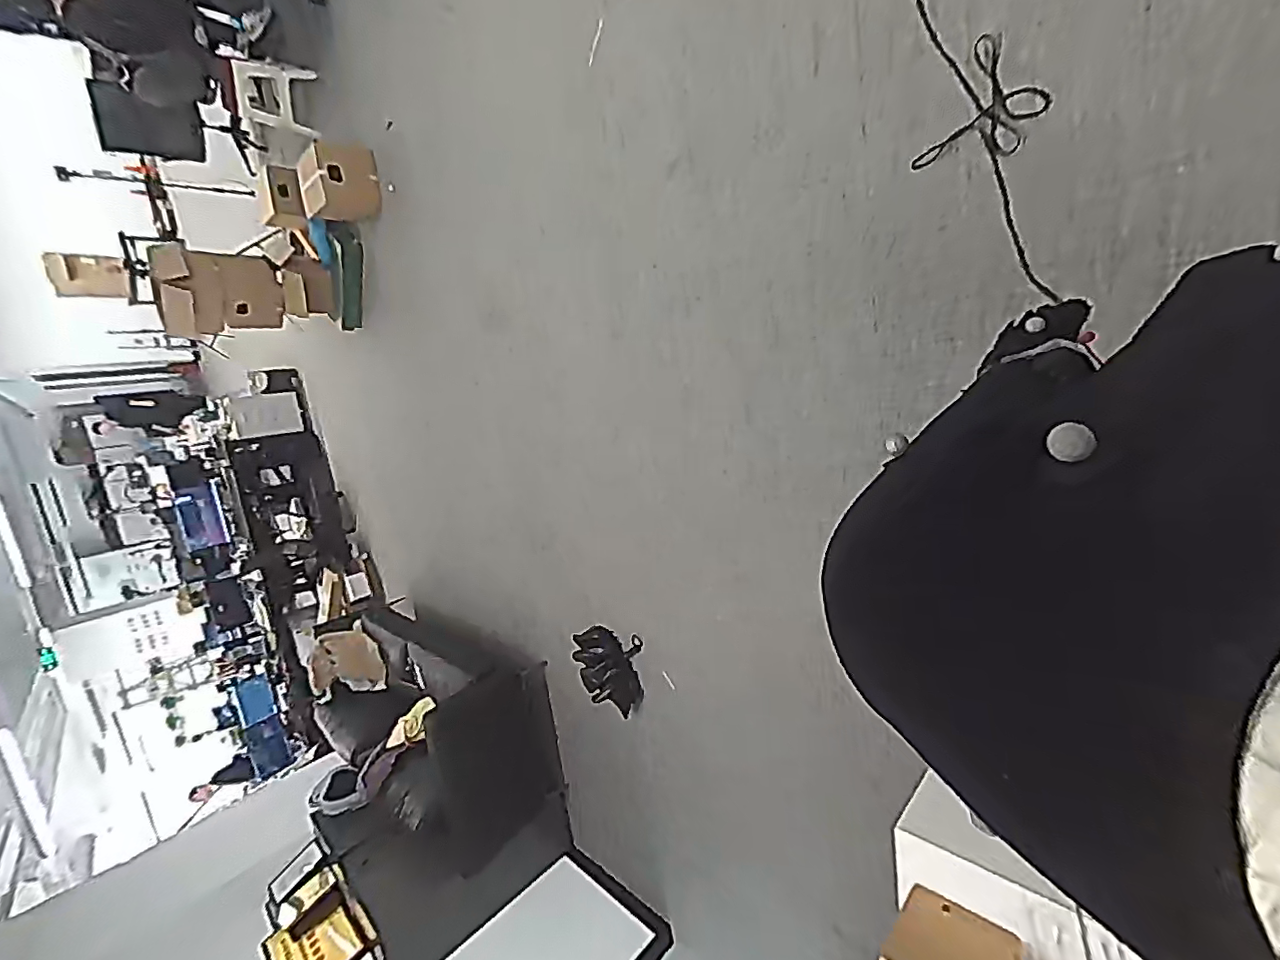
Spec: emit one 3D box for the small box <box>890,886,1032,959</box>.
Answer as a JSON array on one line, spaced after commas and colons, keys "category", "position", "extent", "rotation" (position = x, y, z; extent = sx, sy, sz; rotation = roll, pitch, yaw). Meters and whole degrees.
[{"category": "small box", "position": [0.538, 0.846, 0.900], "extent": [0.168, 0.176, 0.179], "rotation": [2, 105, 46]}]
